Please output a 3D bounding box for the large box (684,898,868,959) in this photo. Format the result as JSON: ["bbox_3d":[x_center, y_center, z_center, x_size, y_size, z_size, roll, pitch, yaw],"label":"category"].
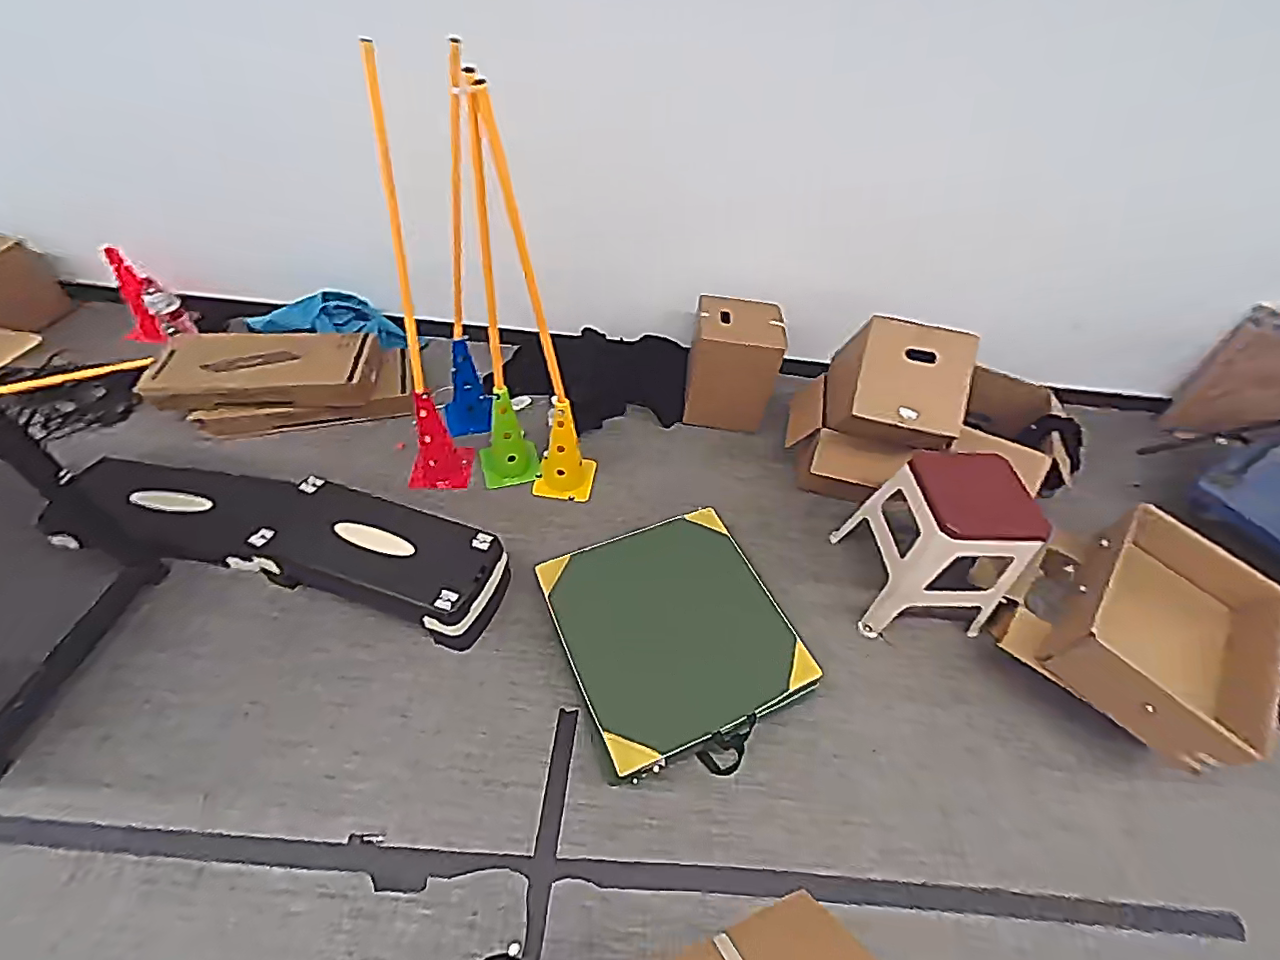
[{"bbox_3d":[0.216,0.810,0.623,0.320,0.408,0.320,-16,83,-17],"label":"large box"}]
